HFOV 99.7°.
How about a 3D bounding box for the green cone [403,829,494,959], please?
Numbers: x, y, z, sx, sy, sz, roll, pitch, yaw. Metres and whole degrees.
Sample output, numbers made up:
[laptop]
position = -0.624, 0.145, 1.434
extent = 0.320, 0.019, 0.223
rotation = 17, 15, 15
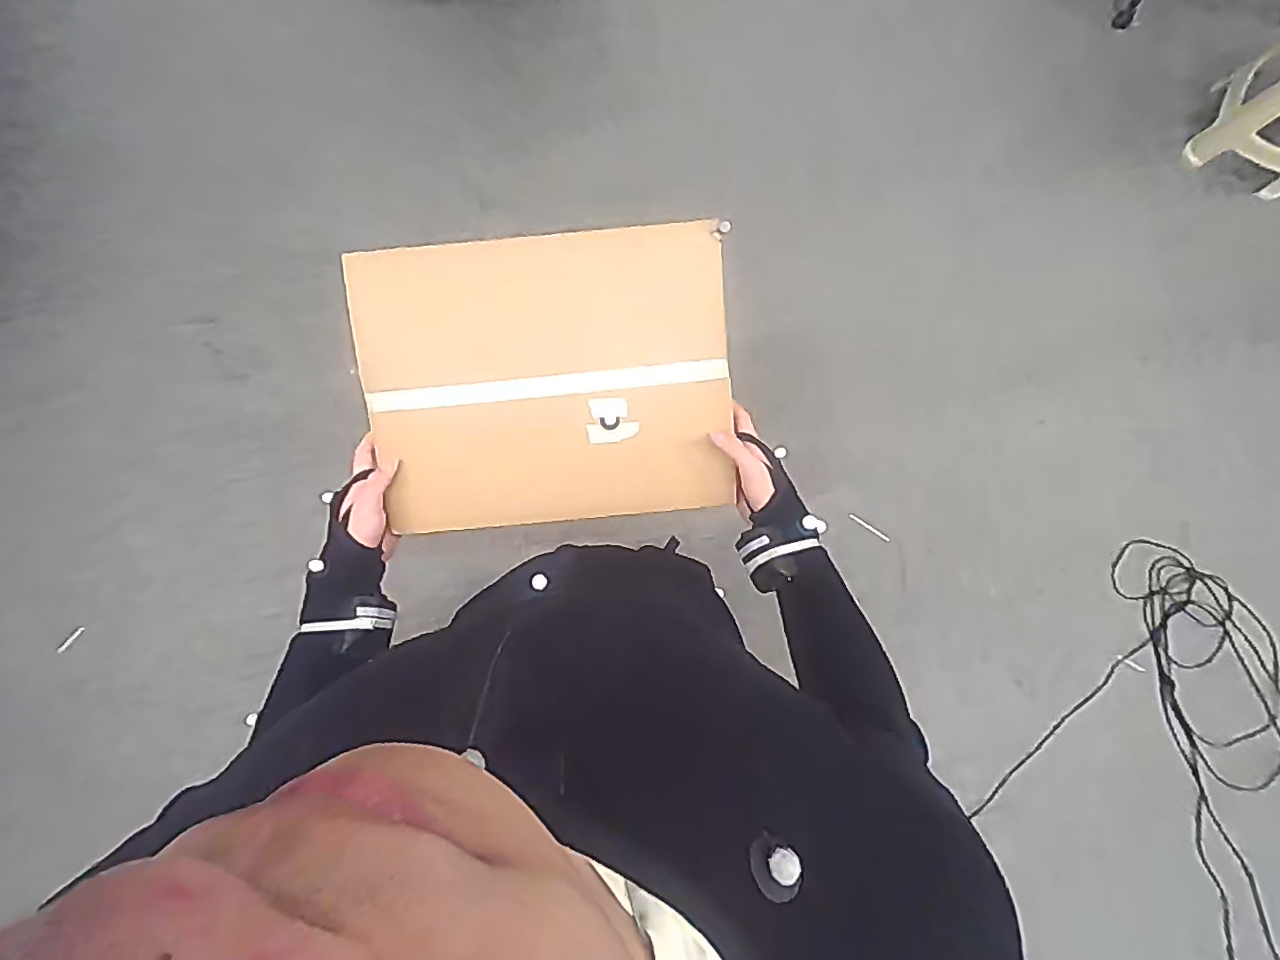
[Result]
[green cone]
position = -0.514, 1.082, 1.360
extent = 0.200, 0.368, 0.202
rotation = -4, 85, -2

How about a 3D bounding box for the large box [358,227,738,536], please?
[large box]
position = -0.101, -0.128, 0.759
extent = 0.408, 0.320, 0.320
rotation = -6, 100, -1
